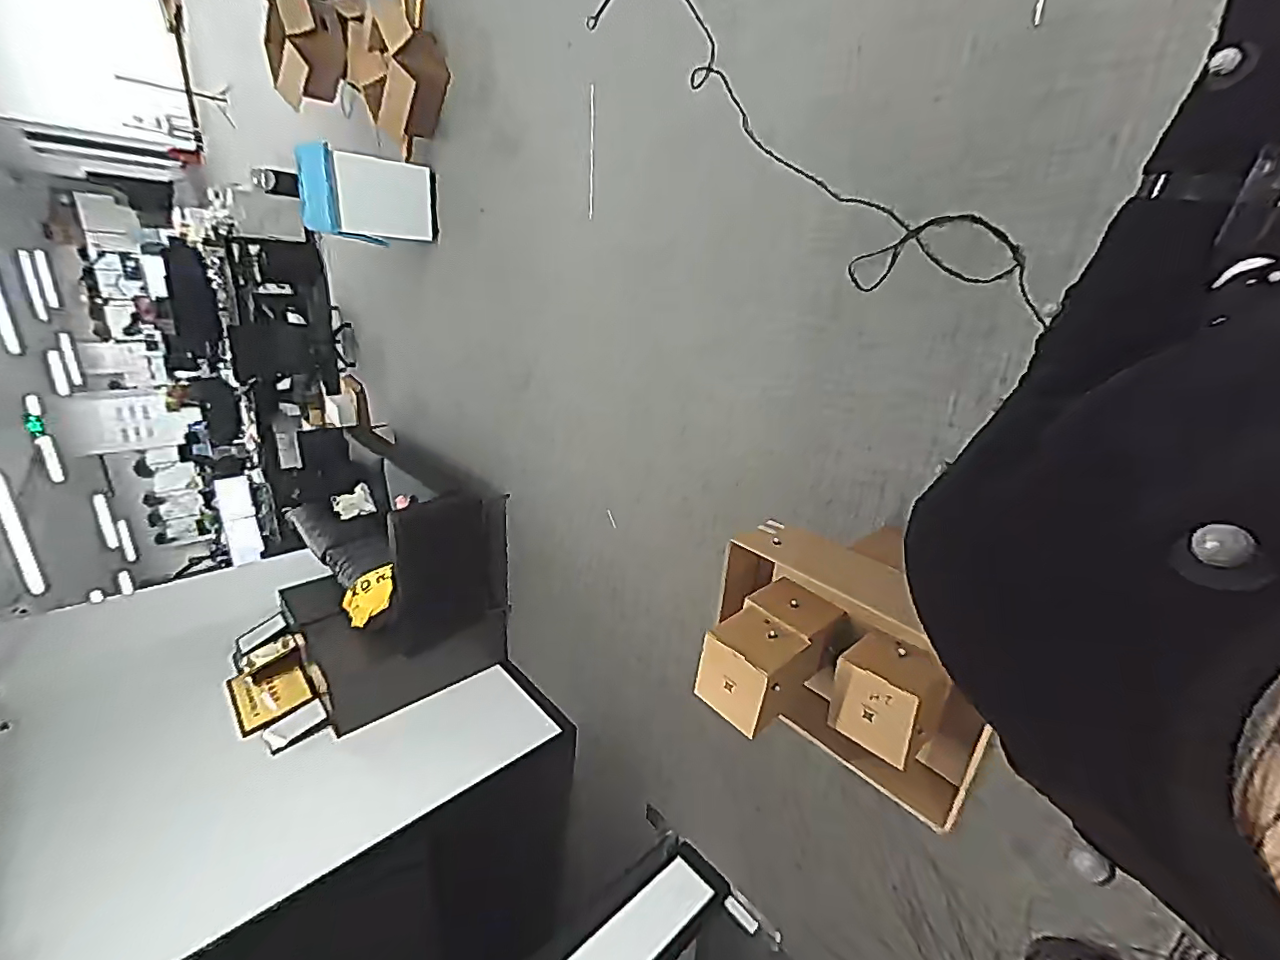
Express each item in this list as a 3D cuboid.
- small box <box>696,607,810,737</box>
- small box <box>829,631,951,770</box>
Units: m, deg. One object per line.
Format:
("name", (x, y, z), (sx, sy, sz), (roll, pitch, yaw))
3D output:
("small box", (0.248, 0.411, 1.185), (0.168, 0.176, 0.179), (28, 121, 41))
("small box", (0.522, 0.449, 1.128), (0.168, 0.176, 0.179), (21, 115, 45))
